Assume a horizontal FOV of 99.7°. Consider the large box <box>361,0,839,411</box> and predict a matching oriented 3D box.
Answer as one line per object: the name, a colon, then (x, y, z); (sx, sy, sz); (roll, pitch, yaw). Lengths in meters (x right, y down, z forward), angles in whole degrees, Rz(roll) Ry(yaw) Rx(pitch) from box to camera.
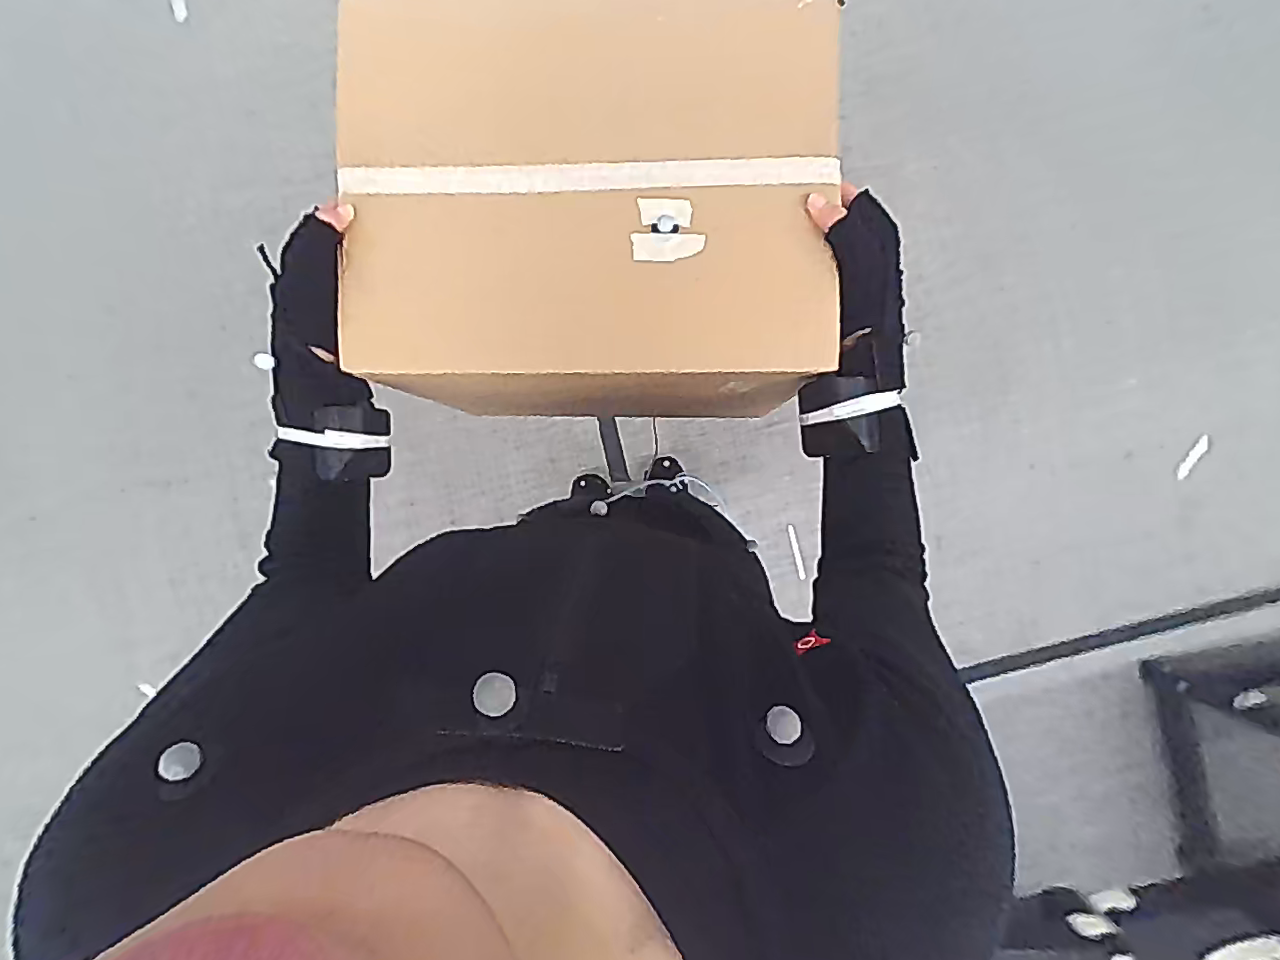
large box: (-0.033, -0.250, 0.598); (0.408, 0.320, 0.320); (1, 91, 2)
